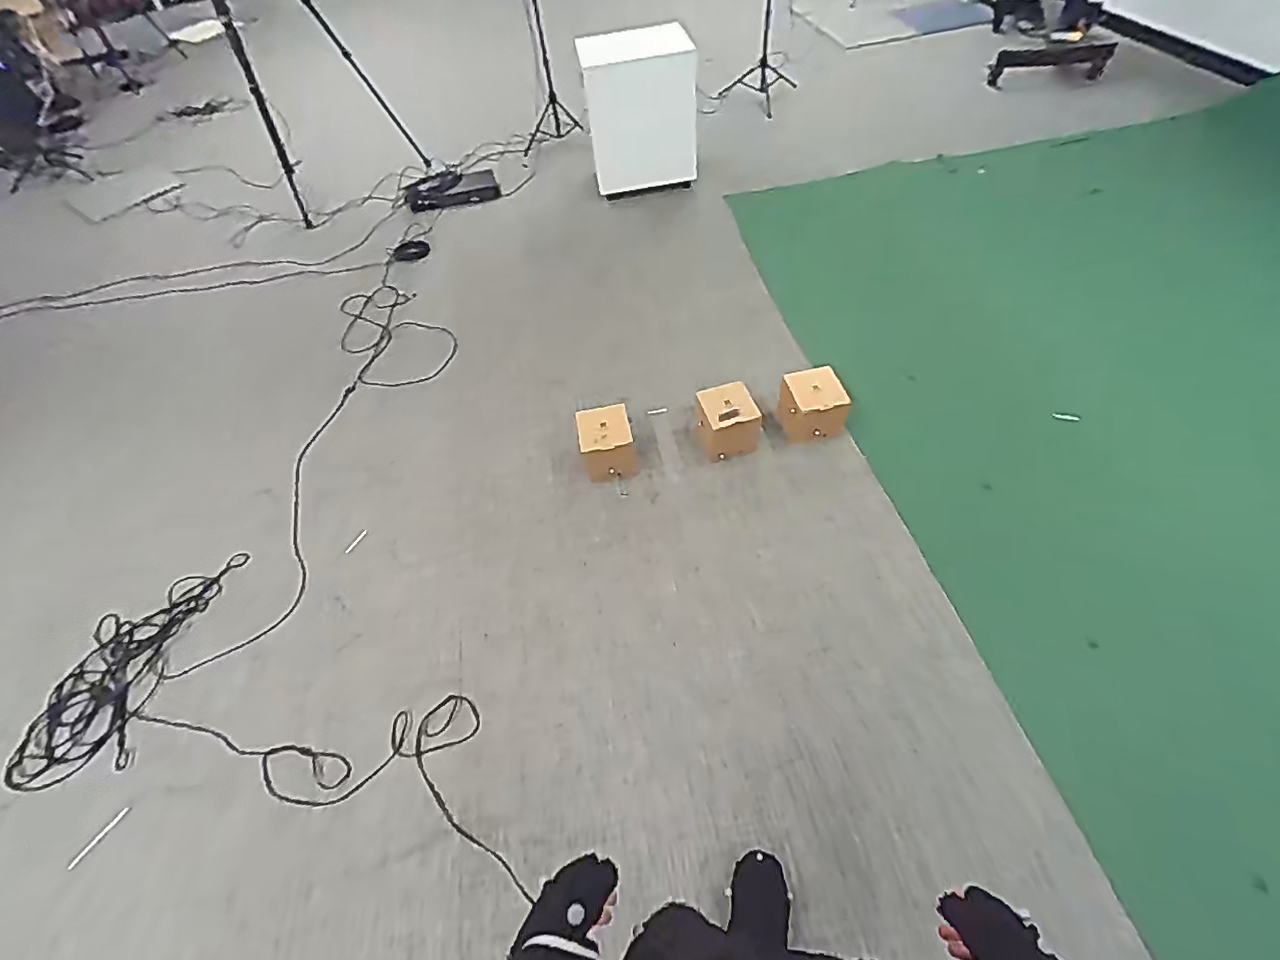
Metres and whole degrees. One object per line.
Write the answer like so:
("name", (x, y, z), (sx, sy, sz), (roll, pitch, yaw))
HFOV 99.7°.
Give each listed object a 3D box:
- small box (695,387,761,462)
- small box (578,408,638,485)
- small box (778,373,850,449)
("small box", (0.290, -0.179, 1.807), (0.168, 0.176, 0.179), (-15, 53, -6))
("small box", (-0.106, -0.109, 1.790), (0.168, 0.176, 0.179), (-11, 54, -1))
("small box", (0.577, -0.231, 1.821), (0.168, 0.176, 0.179), (-12, 54, -3))
